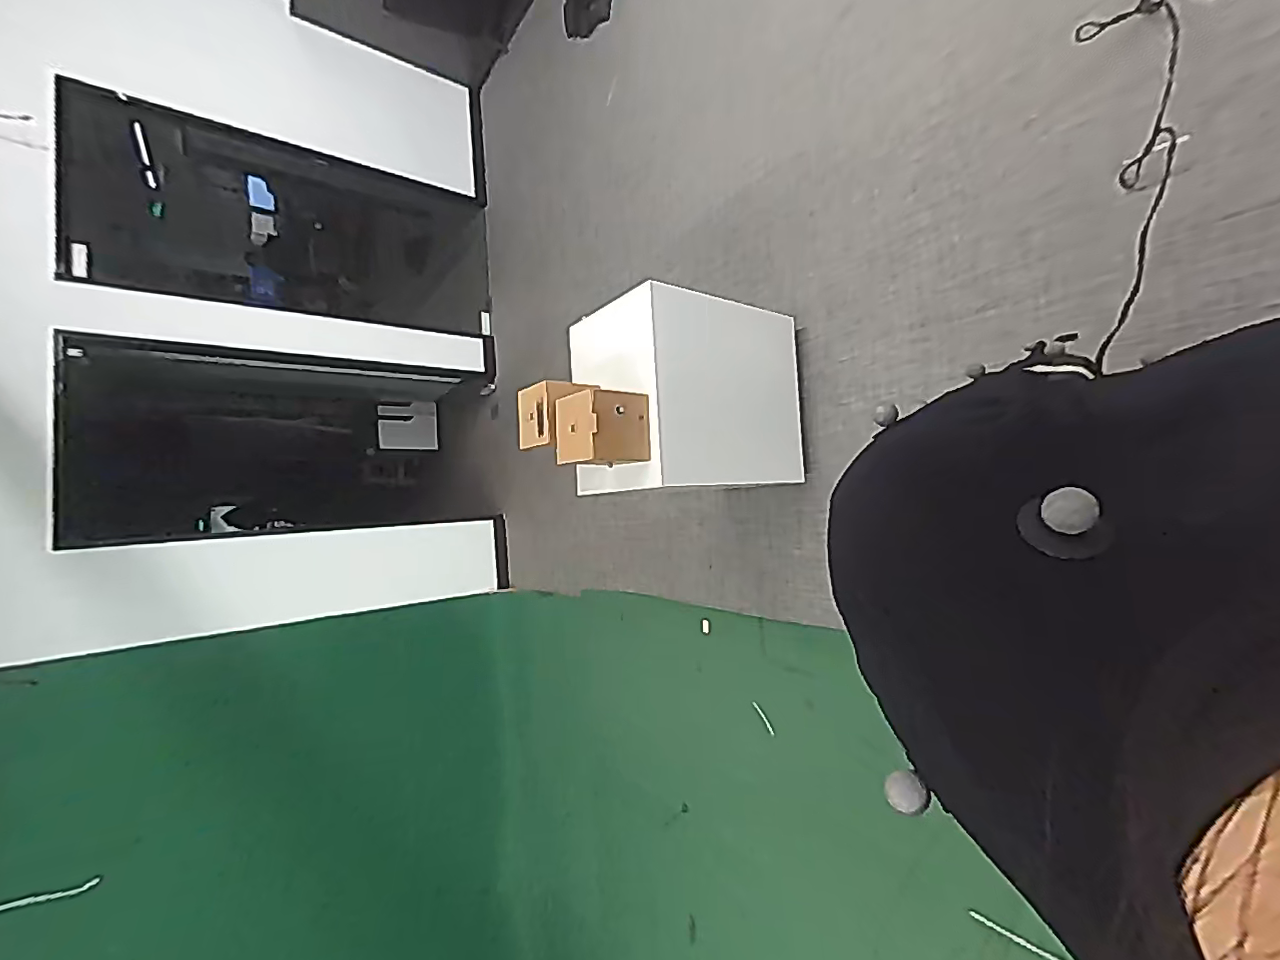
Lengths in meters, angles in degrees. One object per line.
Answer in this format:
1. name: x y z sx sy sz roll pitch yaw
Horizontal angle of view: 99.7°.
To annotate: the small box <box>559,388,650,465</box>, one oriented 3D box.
1. small box: -0.085 -0.125 1.331 0.179 0.176 0.168 -5 85 55
